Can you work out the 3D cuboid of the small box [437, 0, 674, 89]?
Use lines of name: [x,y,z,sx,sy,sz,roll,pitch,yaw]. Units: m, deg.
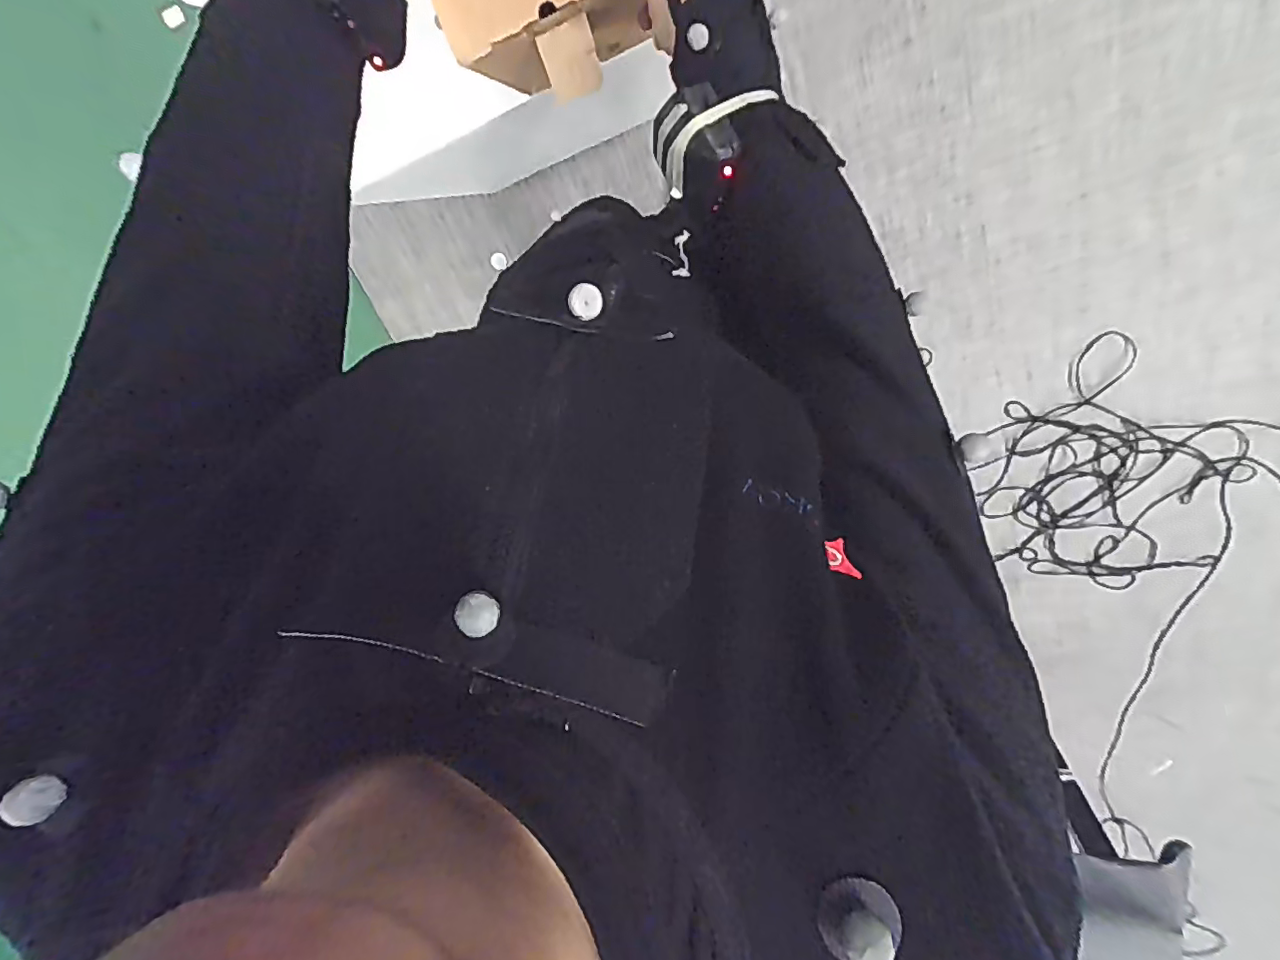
small box: [-0.079,-0.455,0.435,0.168,0.176,0.179,-14,116,17]
